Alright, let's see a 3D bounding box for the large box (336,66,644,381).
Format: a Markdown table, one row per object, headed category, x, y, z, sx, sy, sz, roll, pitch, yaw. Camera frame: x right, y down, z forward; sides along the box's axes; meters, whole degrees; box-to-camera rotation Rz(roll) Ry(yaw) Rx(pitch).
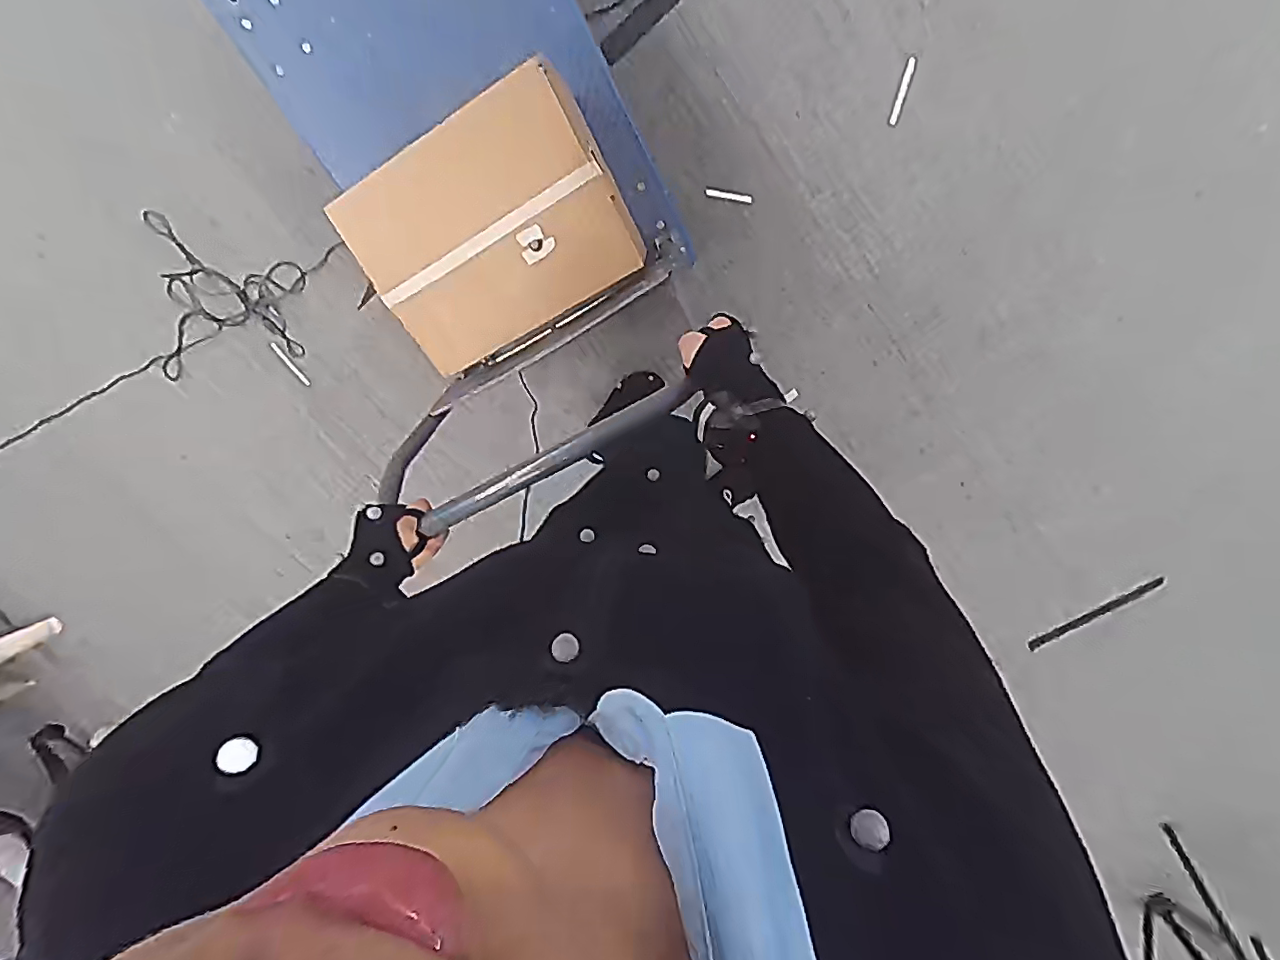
| category | x | y | z | sx | sy | sz | roll | pitch | yaw |
| --- | --- | --- | --- | --- | --- | --- | --- | --- | --- |
| large box | -0.237 | -0.444 | 0.995 | 0.408 | 0.320 | 0.320 | -26 | 114 | 13 |
